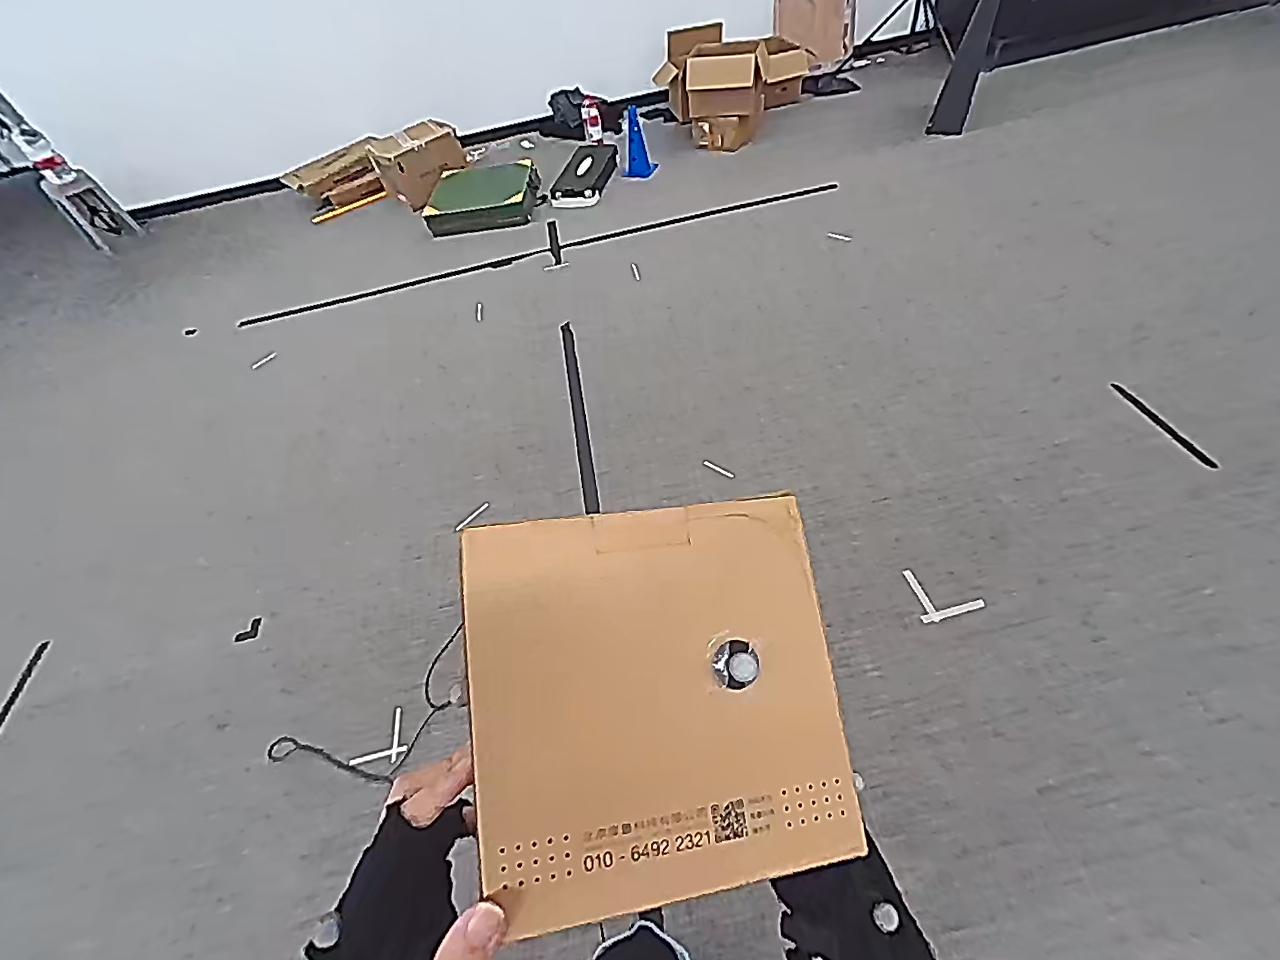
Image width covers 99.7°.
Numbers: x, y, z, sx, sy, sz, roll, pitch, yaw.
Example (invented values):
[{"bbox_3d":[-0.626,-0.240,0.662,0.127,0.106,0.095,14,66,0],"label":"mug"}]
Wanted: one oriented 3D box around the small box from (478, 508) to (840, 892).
[{"bbox_3d":[0.000,0.122,0.338,0.168,0.179,0.176,-5,77,-10],"label":"small box"}]
